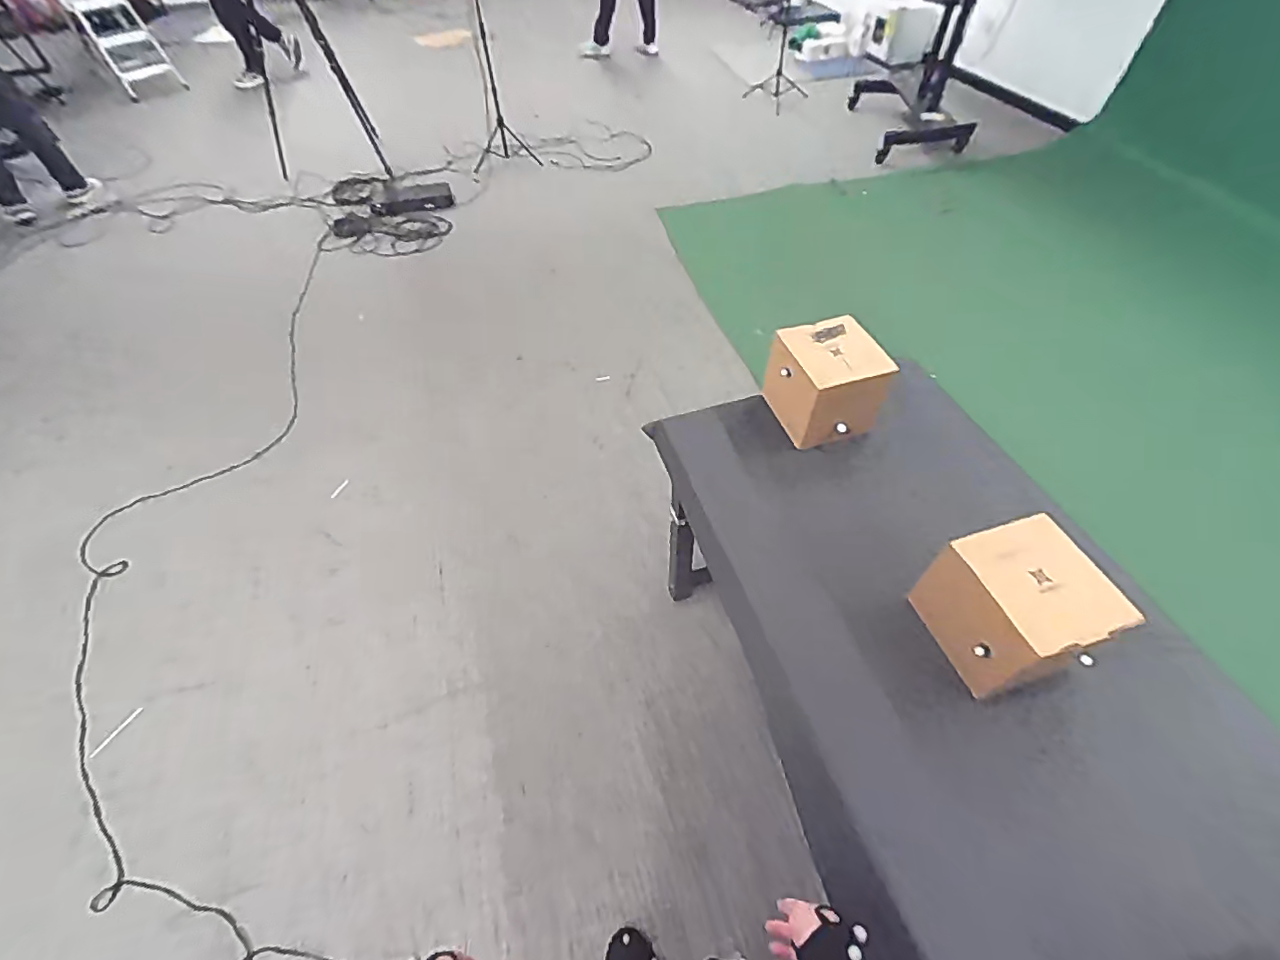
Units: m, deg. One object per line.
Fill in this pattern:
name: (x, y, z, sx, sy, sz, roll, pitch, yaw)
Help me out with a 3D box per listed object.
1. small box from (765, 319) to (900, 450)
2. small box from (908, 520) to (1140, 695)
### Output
small box: (0.367, -0.188, 1.071, 0.168, 0.176, 0.179, -14, 55, -10)
small box: (0.532, 0.191, 0.780, 0.168, 0.176, 0.179, -14, 52, -12)
